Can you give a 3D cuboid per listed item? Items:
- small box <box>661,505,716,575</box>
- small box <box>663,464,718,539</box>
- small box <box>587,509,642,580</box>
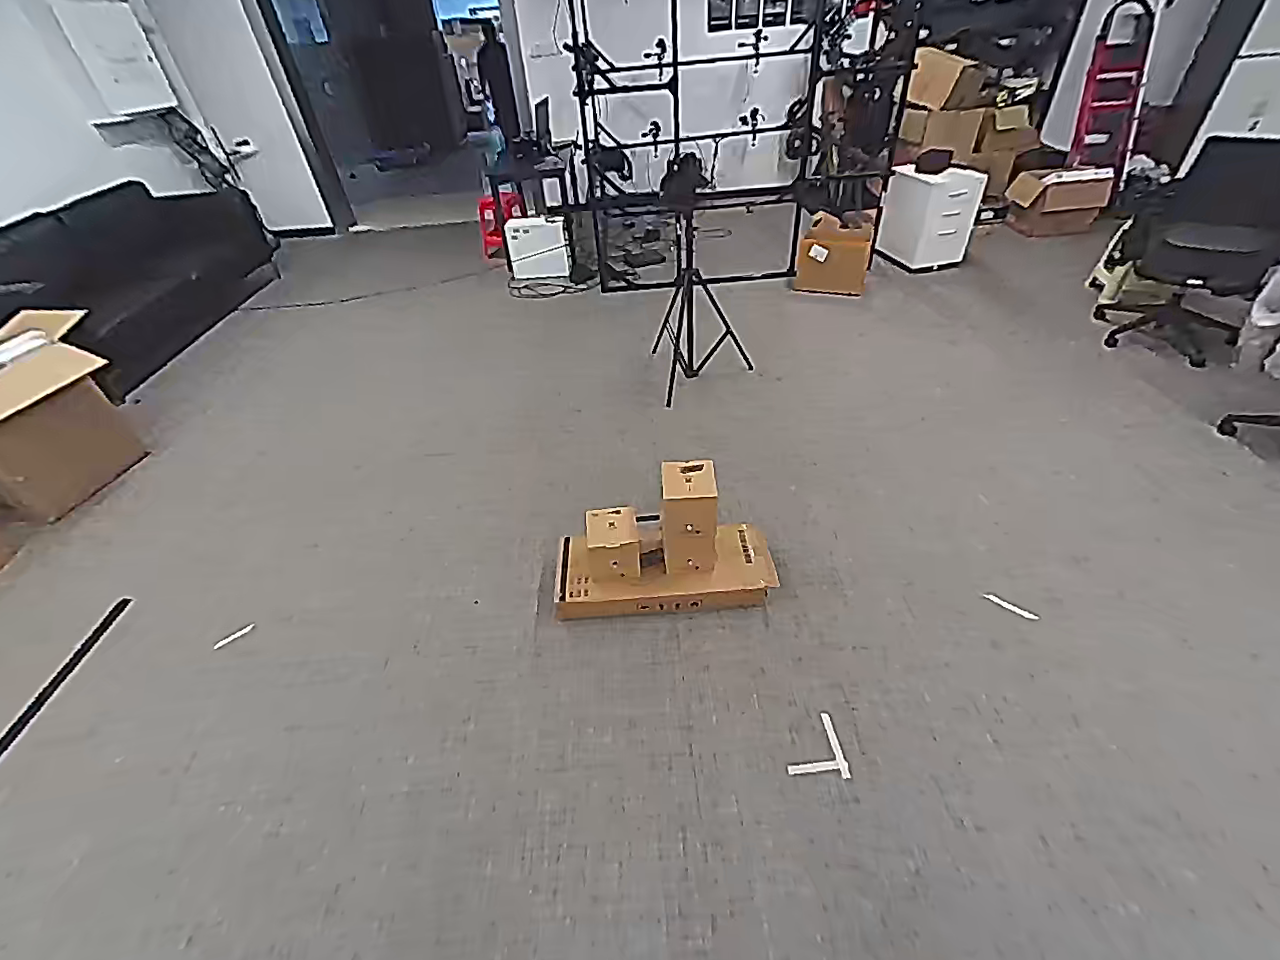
[{"bbox_3d":[0.159,0.197,1.829,0.168,0.176,0.179,-6,39,0],"label":"small box"},{"bbox_3d":[0.157,0.068,1.727,0.168,0.176,0.179,-3,40,3],"label":"small box"},{"bbox_3d":[-0.087,0.223,1.823,0.168,0.176,0.179,-6,40,-2],"label":"small box"}]
